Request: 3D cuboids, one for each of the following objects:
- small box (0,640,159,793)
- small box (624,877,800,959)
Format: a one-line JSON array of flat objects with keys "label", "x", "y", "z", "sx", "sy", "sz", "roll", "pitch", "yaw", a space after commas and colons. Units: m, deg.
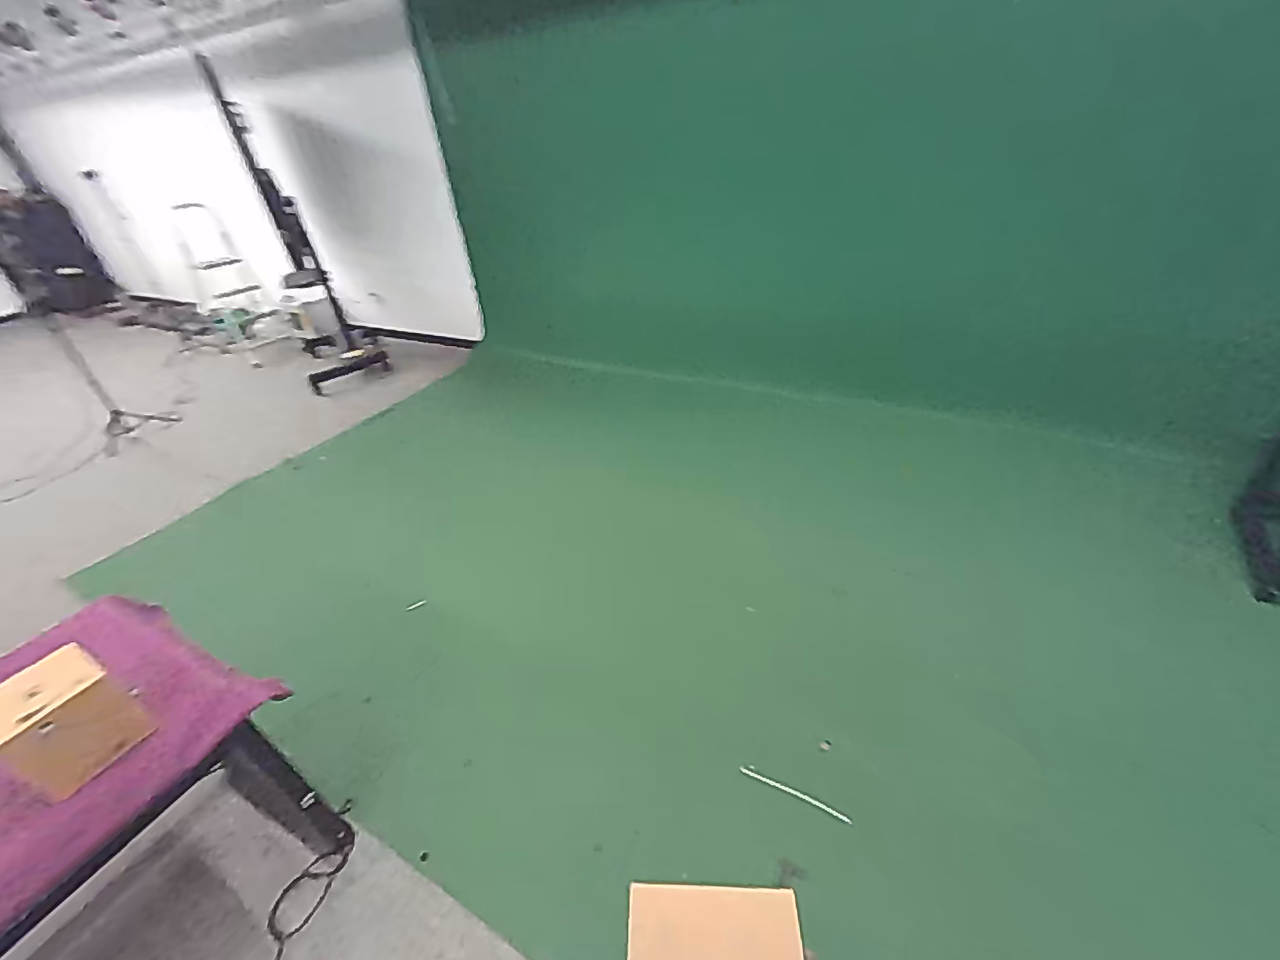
[{"label": "small box", "x": -1.060, "y": 0.437, "z": 1.002, "sx": 0.179, "sy": 0.176, "sz": 0.168, "roll": 13, "pitch": 40, "yaw": 29}, {"label": "small box", "x": 0.066, "y": 0.520, "z": 0.526, "sx": 0.168, "sy": 0.176, "sz": 0.179, "roll": 0, "pitch": 39, "yaw": 3}]
